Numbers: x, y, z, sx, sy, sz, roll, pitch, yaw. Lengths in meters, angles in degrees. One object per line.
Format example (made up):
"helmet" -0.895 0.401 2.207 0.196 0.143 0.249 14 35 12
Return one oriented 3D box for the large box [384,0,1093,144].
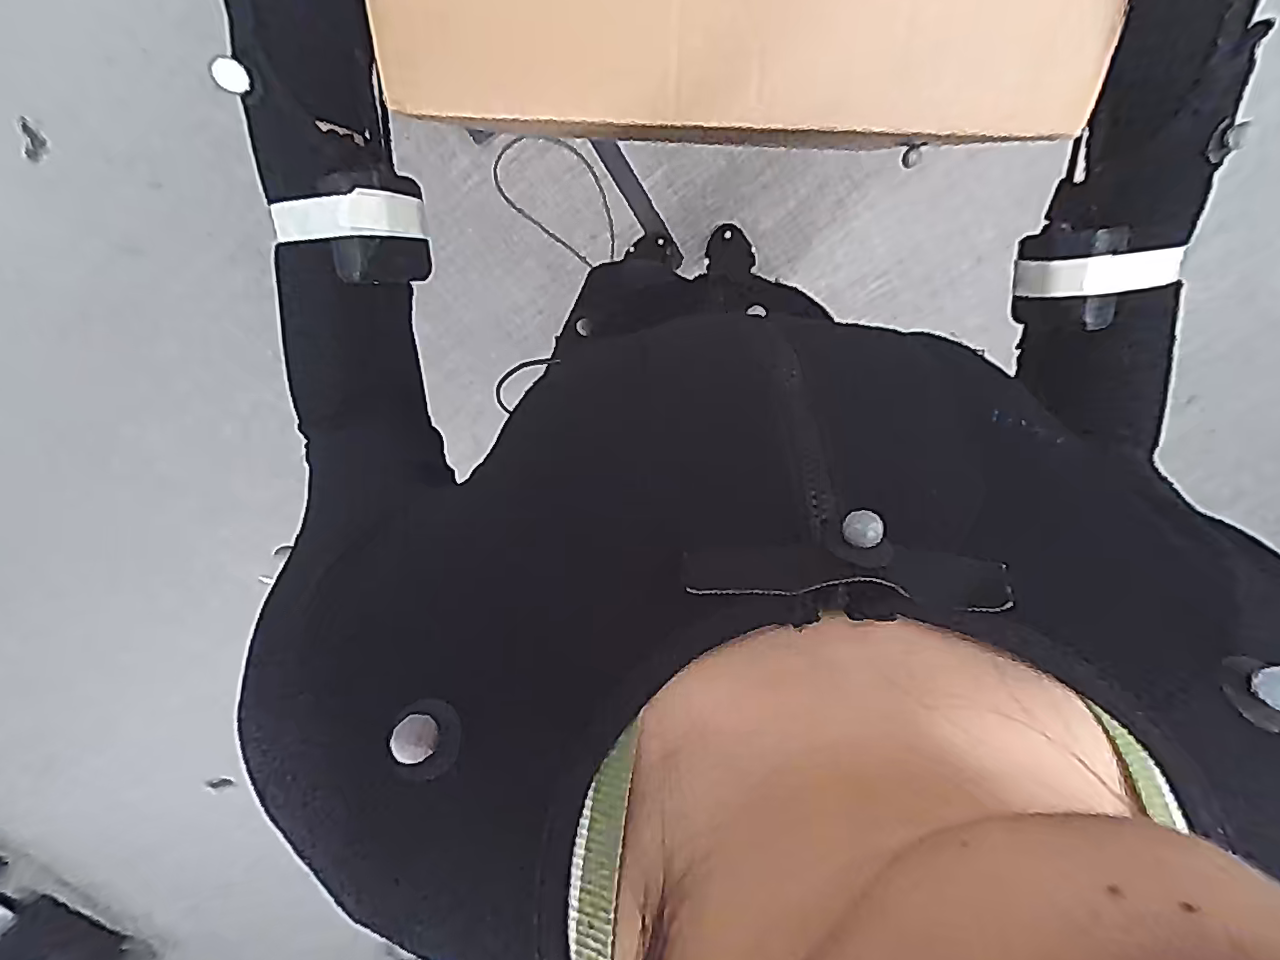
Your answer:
"large box" 0.057 -0.421 0.382 0.408 0.320 0.320 1 120 0
